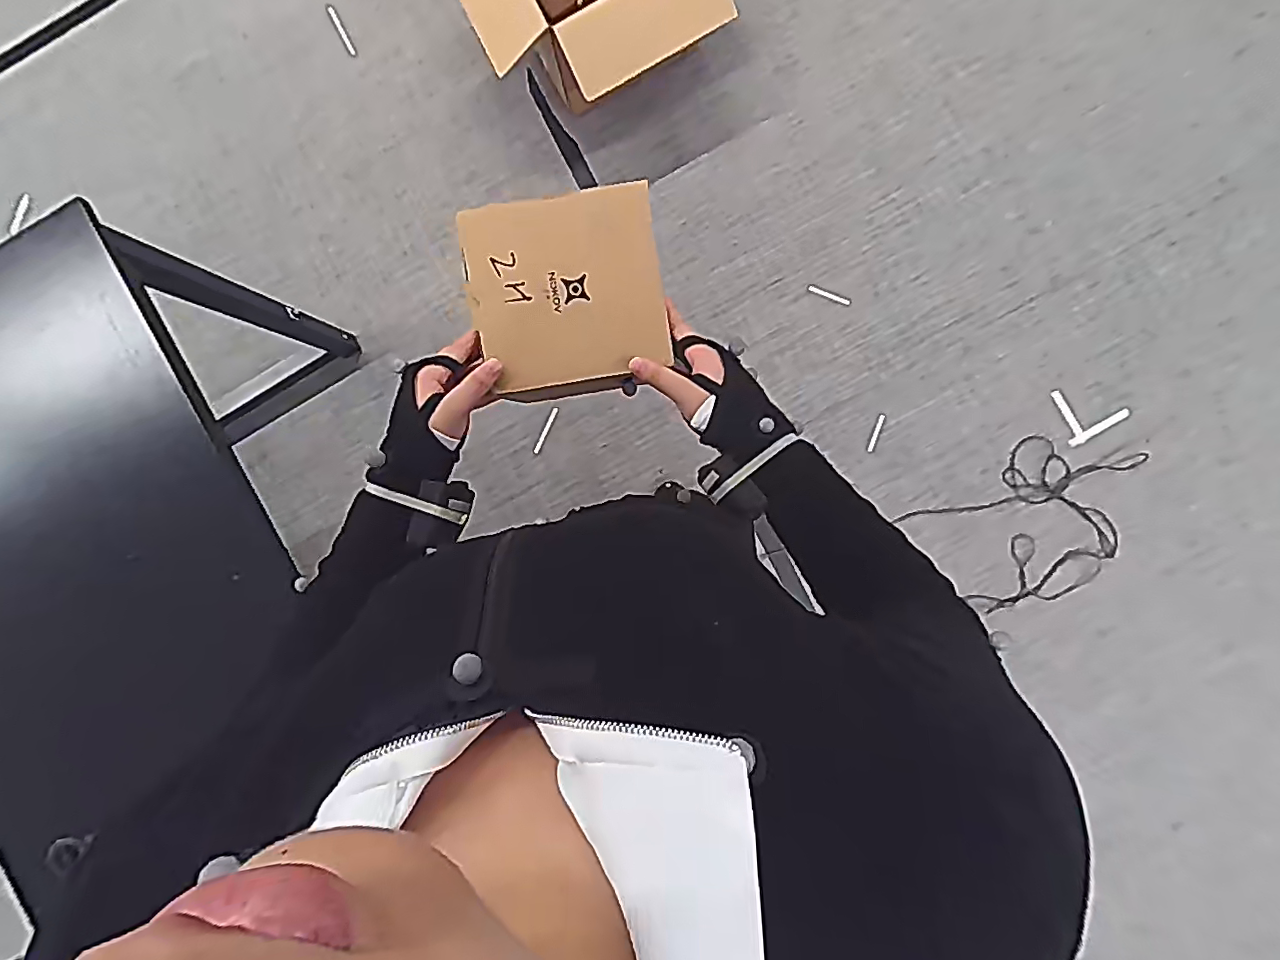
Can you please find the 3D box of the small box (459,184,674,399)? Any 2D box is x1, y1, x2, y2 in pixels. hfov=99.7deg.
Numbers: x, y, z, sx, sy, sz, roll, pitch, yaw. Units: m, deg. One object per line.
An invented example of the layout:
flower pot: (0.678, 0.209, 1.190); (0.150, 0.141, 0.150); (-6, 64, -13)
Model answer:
small box: (-0.066, -0.181, 0.571); (0.179, 0.176, 0.168); (-9, 96, 2)
